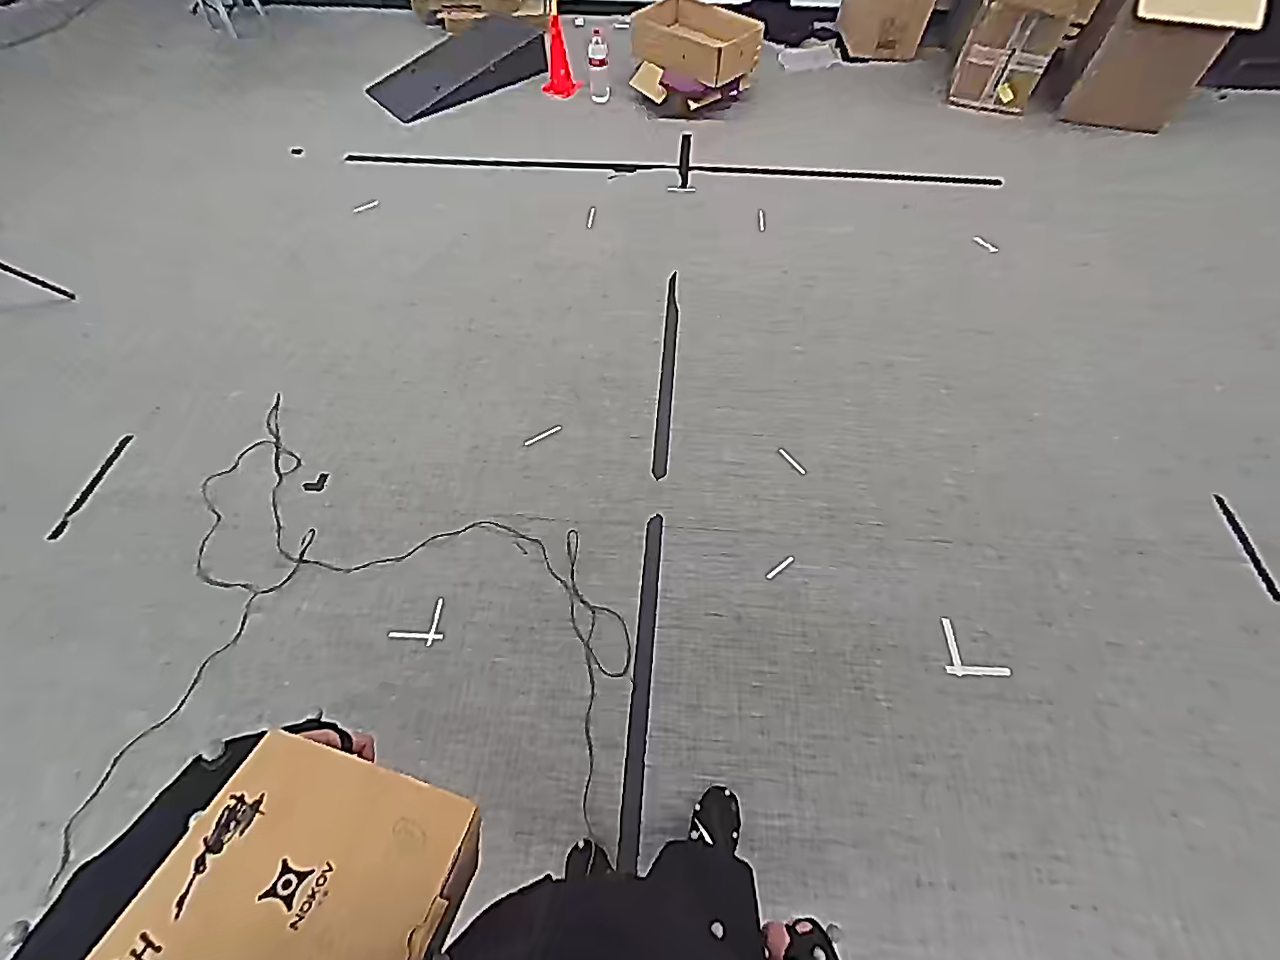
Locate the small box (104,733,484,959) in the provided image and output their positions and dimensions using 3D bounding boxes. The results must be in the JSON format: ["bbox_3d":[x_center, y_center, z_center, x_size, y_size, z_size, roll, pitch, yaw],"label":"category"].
[{"bbox_3d":[-0.236,0.330,0.410,0.179,0.176,0.168,17,40,2],"label":"small box"}]
